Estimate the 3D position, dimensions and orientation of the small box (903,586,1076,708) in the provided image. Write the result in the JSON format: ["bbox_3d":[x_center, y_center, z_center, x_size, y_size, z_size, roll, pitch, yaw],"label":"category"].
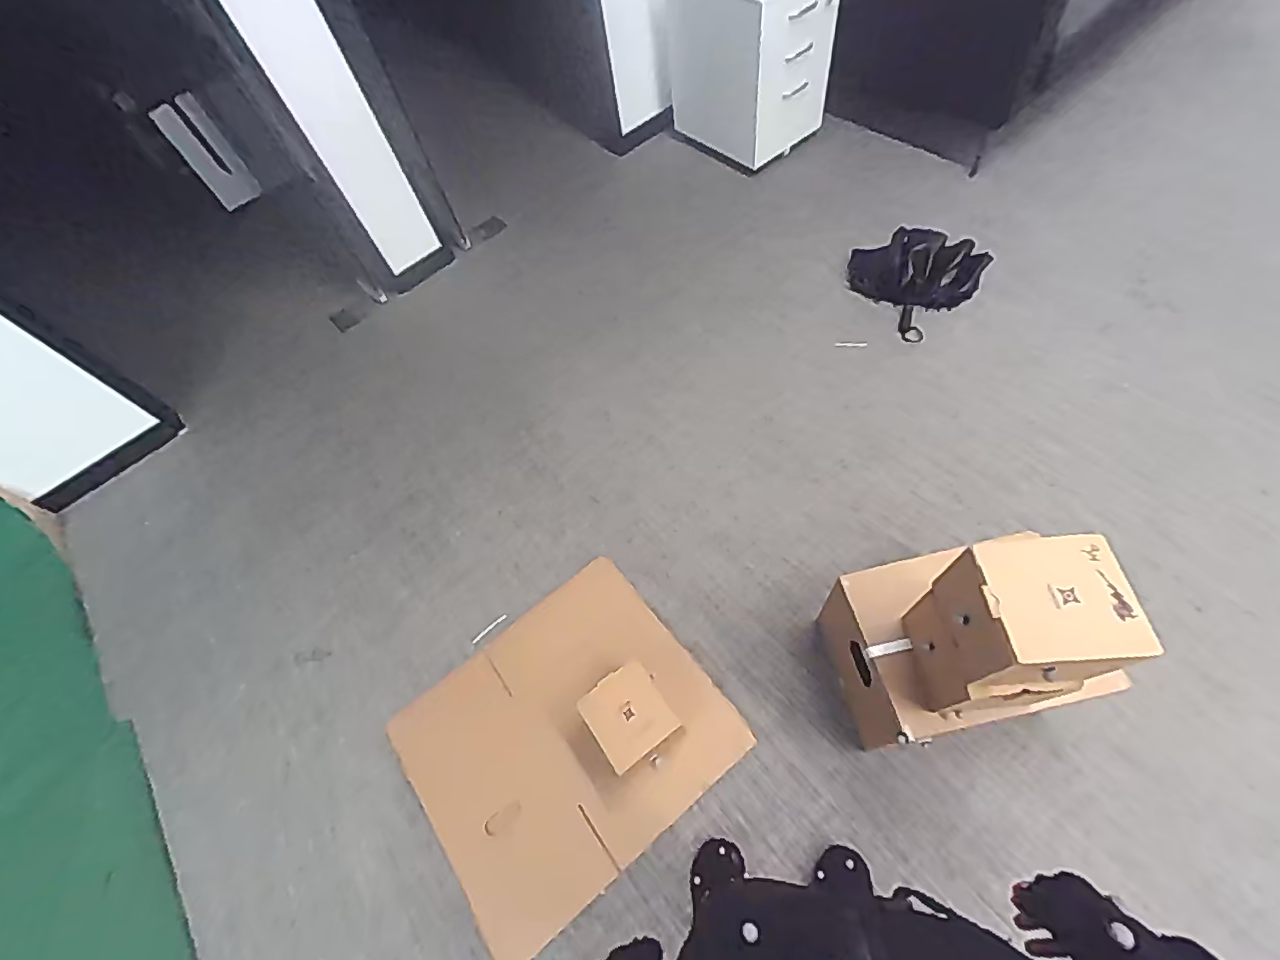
[{"bbox_3d":[0.571,0.282,0.914,0.168,0.176,0.179,-7,59,5],"label":"small box"}]

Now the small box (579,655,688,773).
[{"bbox_3d":[-0.010,0.528,1.208,0.168,0.176,0.179,-36,61,-11],"label":"small box"}]

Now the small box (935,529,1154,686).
[{"bbox_3d":[0.555,0.190,0.782,0.179,0.176,0.168,-8,58,3],"label":"small box"}]
